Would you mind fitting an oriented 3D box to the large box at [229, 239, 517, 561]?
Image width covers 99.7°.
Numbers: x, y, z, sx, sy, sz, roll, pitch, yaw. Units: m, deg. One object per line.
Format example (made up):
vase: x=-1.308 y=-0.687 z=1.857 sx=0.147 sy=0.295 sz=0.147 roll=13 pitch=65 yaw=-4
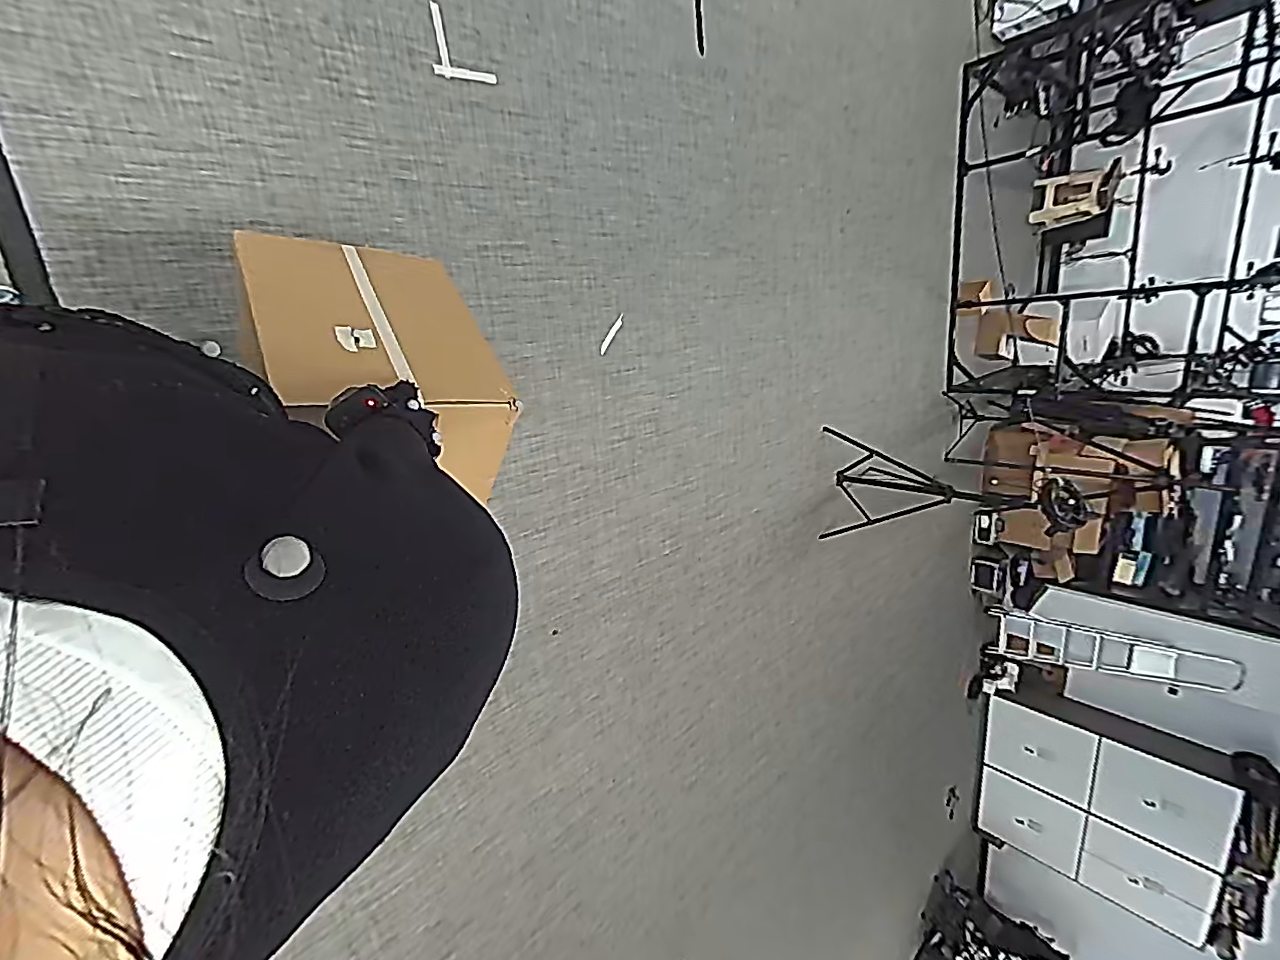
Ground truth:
large box: x=-0.464 y=-0.134 z=0.909 sx=0.320 sy=0.408 sz=0.320 roll=-9 pitch=143 yaw=-39
